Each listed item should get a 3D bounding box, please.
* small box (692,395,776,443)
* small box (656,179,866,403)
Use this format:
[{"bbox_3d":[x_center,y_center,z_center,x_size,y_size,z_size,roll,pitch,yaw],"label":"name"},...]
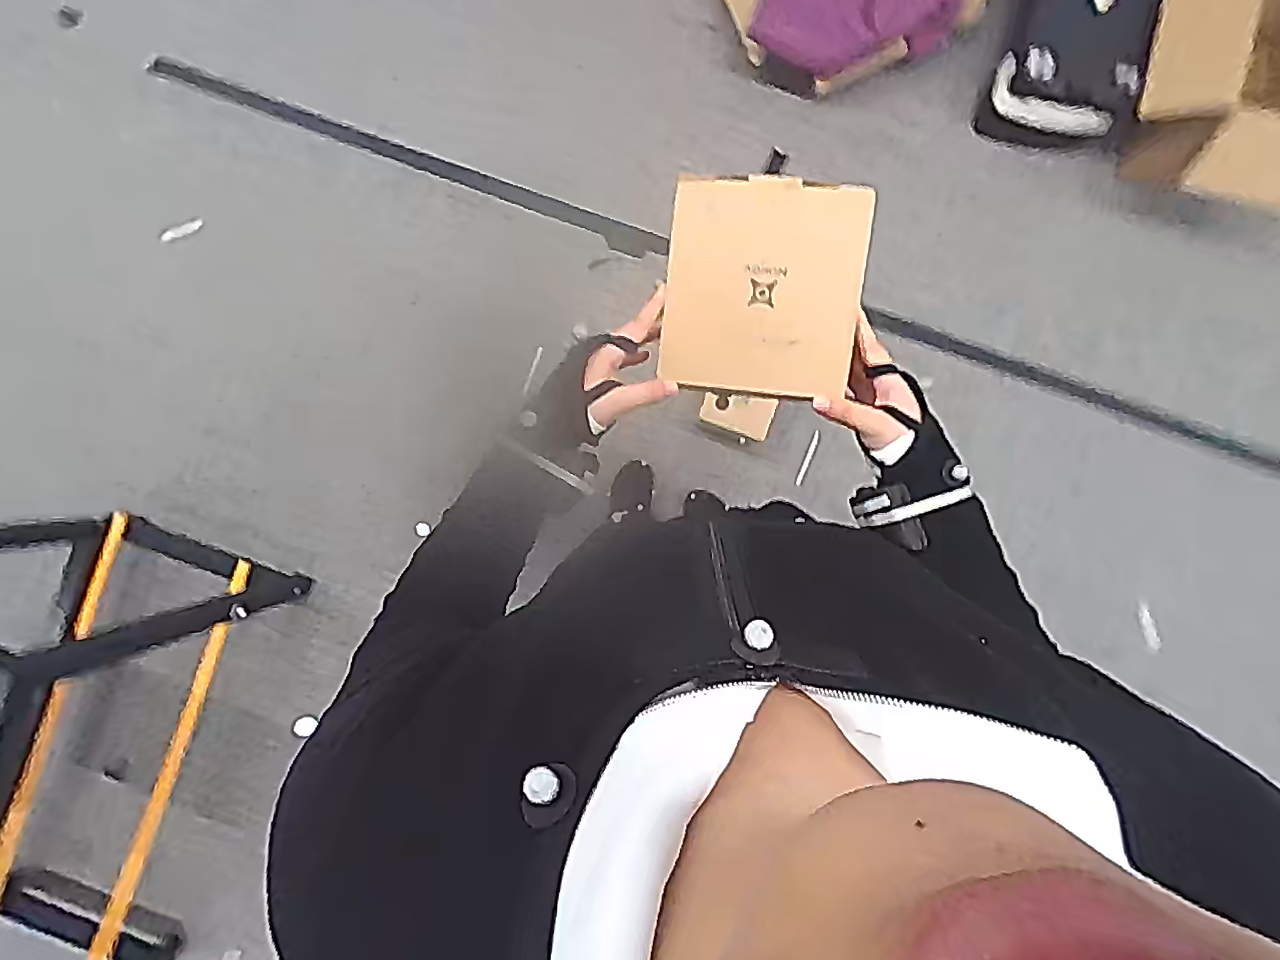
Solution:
[{"bbox_3d":[0.246,-0.201,1.414,0.179,0.176,0.168,21,92,1],"label":"small box"},{"bbox_3d":[0.107,-0.173,0.546,0.168,0.176,0.179,6,99,4],"label":"small box"}]
